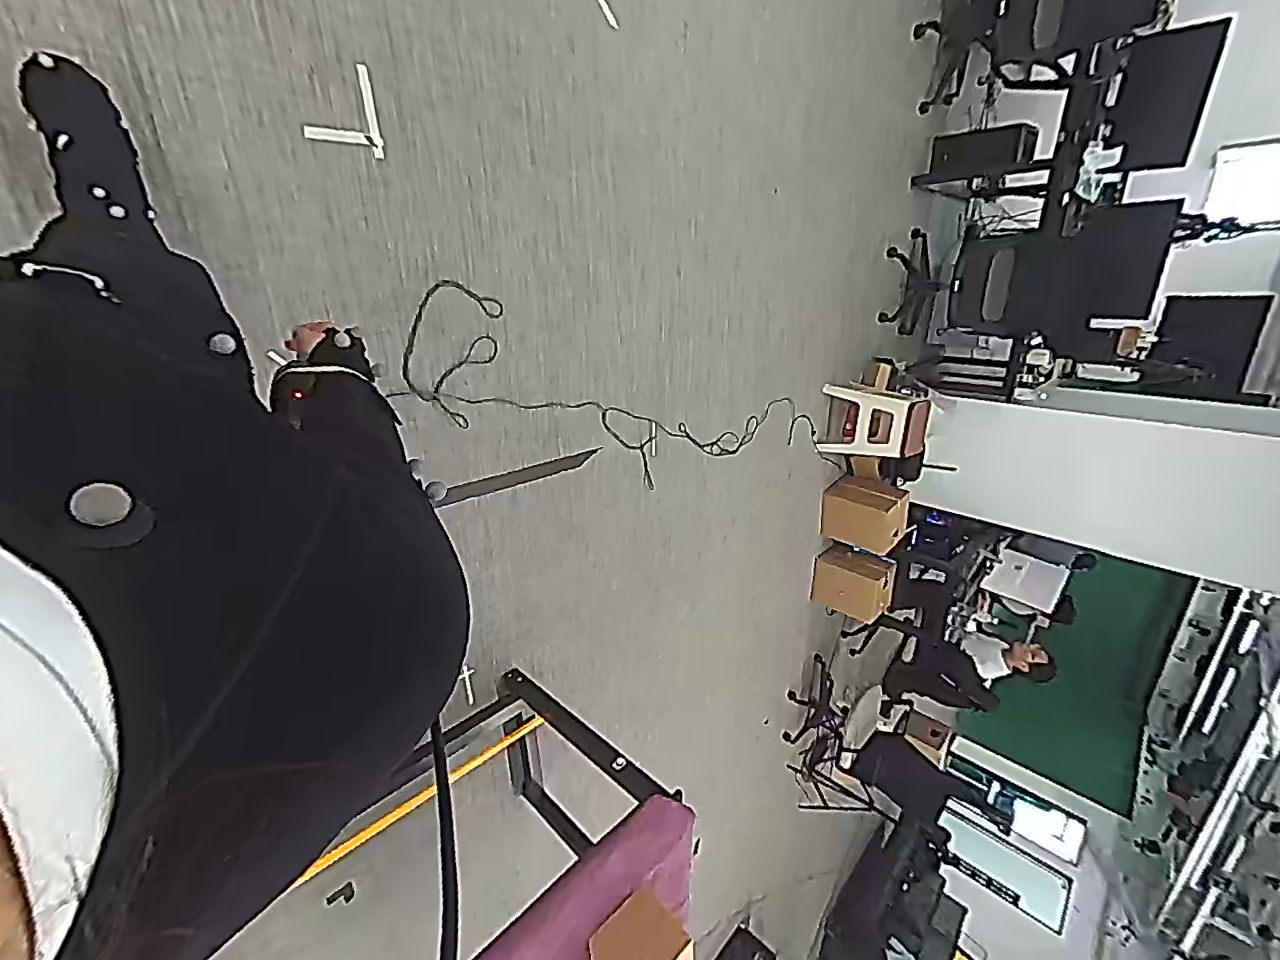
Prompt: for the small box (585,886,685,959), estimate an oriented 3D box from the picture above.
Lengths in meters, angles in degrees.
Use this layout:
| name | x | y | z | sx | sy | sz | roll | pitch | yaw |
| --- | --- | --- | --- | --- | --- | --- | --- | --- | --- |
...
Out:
| name | x | y | z | sx | sy | sz | roll | pitch | yaw |
| --- | --- | --- | --- | --- | --- | --- | --- | --- | --- |
| small box | -0.014 | 1.110 | 1.251 | 0.179 | 0.176 | 0.168 | -22 | 120 | -39 |
